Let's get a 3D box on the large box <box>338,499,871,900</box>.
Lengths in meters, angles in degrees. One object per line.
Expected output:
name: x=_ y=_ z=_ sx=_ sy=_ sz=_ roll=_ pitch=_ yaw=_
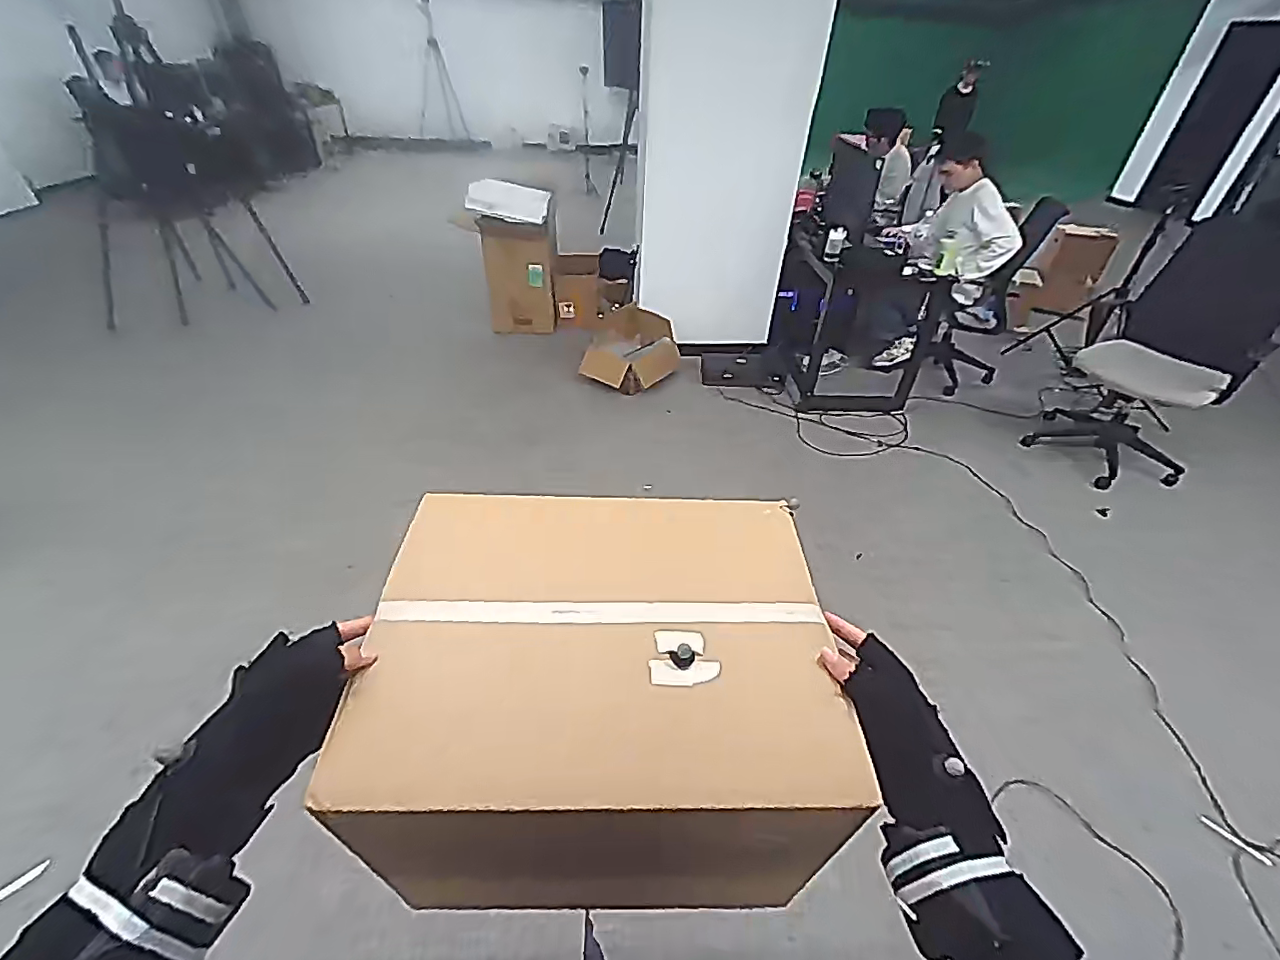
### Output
large box: x=-0.035 y=0.238 z=0.604 sx=0.408 sy=0.320 sz=0.320 roll=2 pitch=42 yaw=-3
